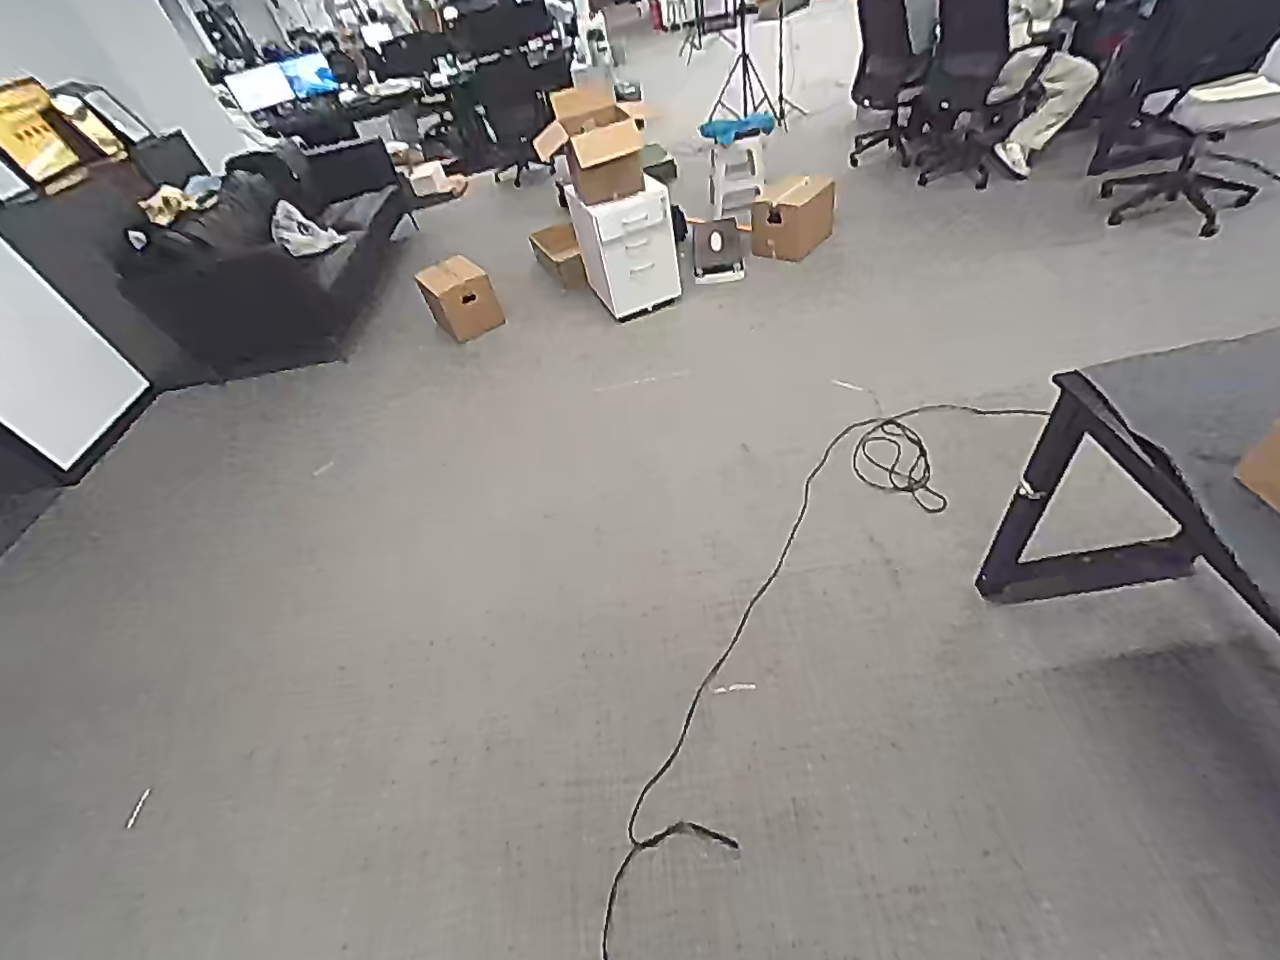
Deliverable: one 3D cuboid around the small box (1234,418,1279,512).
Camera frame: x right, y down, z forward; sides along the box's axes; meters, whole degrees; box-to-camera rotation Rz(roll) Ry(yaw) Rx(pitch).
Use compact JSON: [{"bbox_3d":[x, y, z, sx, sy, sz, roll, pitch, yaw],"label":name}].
[{"bbox_3d":[1.006,-0.032,0.737,0.179,0.176,0.168,-9,45,4],"label":"small box"}]
